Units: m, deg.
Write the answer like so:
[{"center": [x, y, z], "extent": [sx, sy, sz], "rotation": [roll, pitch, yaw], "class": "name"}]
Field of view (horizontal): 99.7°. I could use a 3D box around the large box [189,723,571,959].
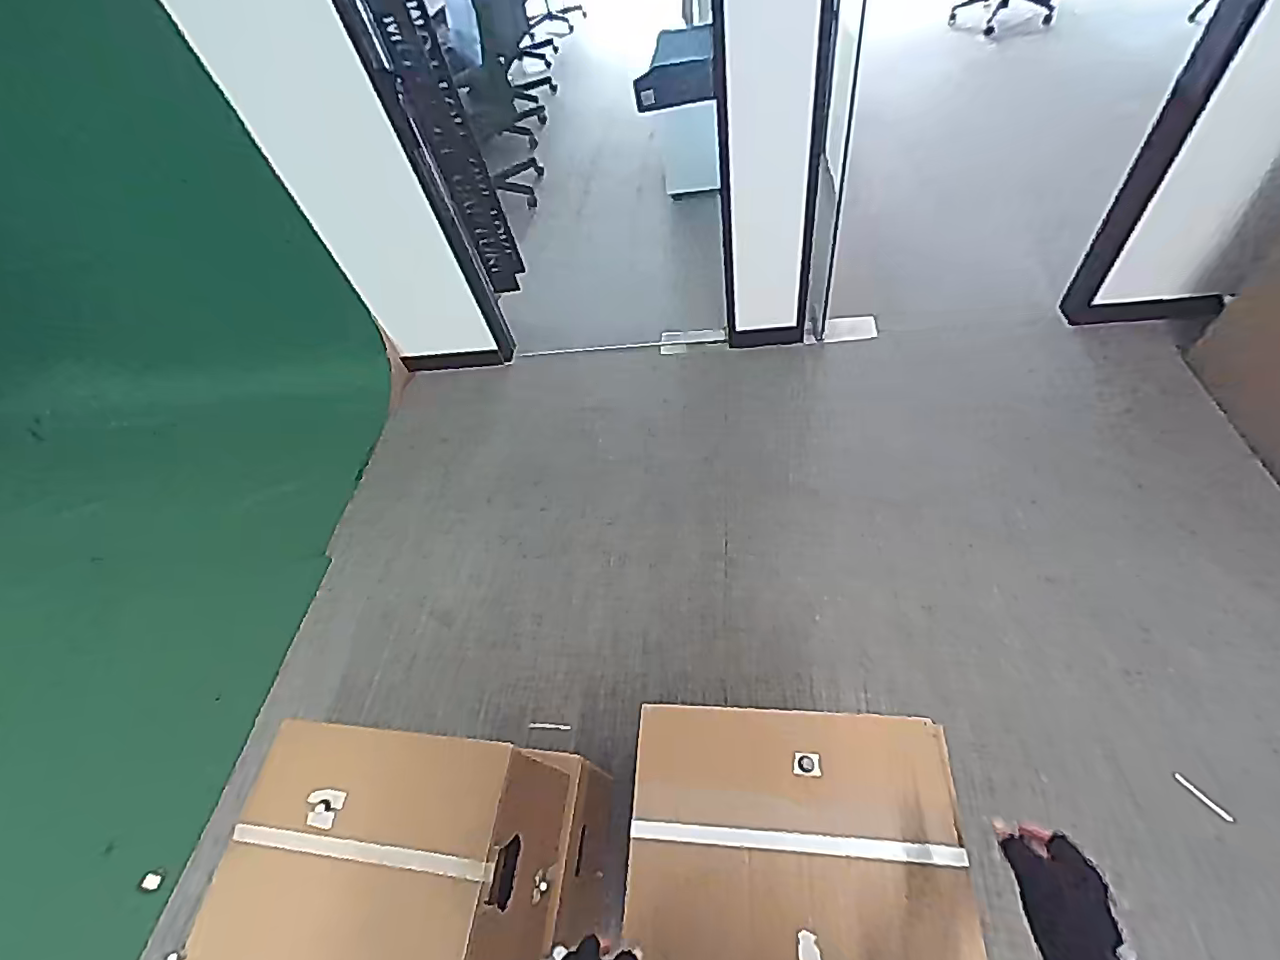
[{"center": [-0.363, 0.598, 0.873], "extent": [0.408, 0.320, 0.320], "rotation": [0, 56, 13], "class": "large box"}]
